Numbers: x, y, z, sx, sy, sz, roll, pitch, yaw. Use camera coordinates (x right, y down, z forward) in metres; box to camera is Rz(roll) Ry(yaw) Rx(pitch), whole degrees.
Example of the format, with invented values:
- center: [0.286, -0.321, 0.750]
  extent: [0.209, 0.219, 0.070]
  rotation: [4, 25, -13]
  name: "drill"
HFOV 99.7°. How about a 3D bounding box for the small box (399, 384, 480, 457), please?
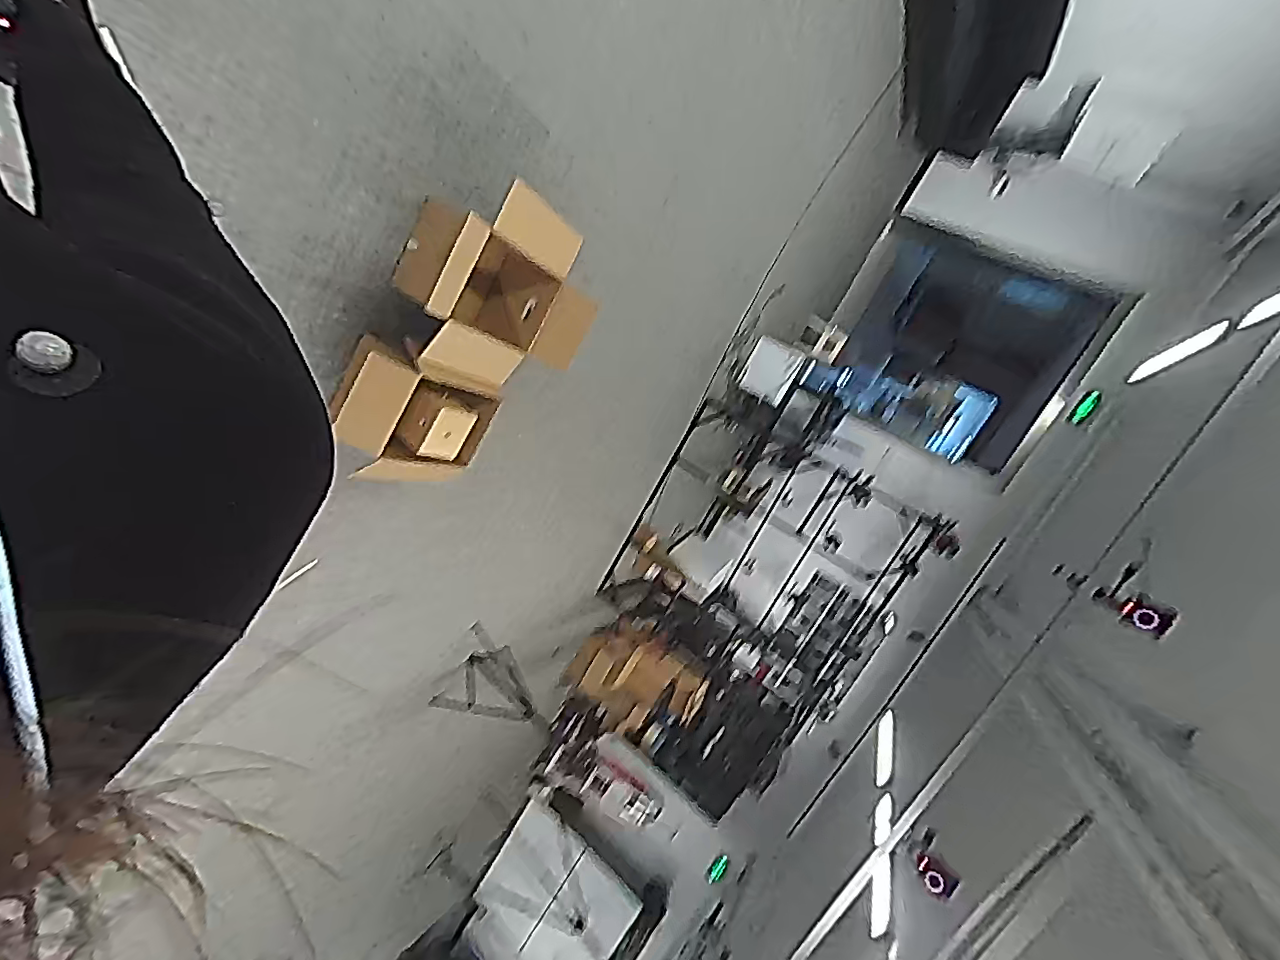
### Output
- center: [-0.696, -0.204, 1.862]
  extent: [0.179, 0.176, 0.168]
  rotation: [-60, 156, 9]
  name: "small box"
